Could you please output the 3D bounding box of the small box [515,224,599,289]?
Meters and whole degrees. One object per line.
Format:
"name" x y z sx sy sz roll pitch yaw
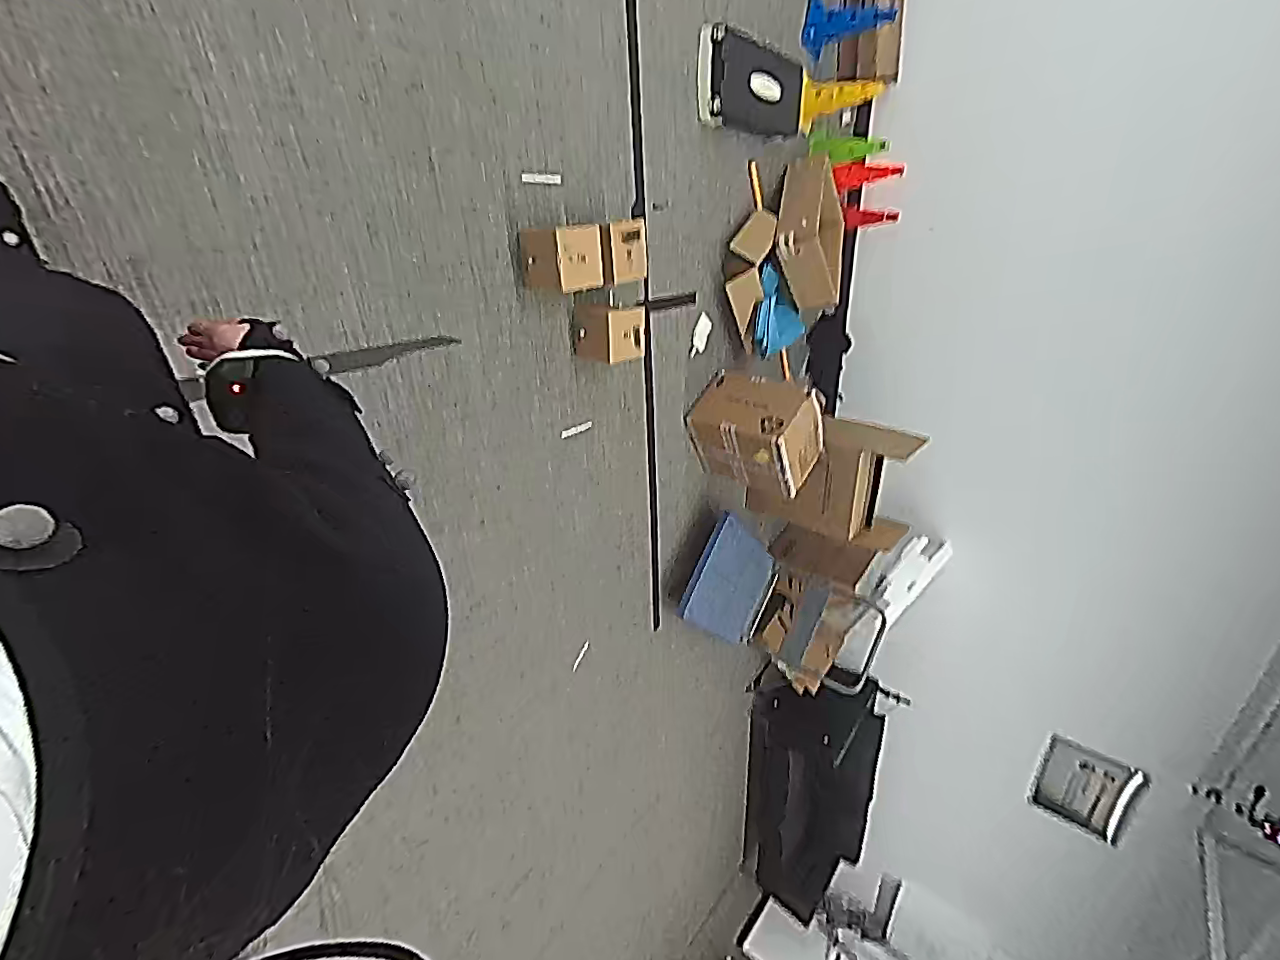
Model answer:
"small box" -0.244 -0.667 1.605 0.179 0.176 0.168 -30 127 -42

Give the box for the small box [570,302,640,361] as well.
"small box" -0.119 -0.510 1.840 0.179 0.176 0.168 -25 124 -44
